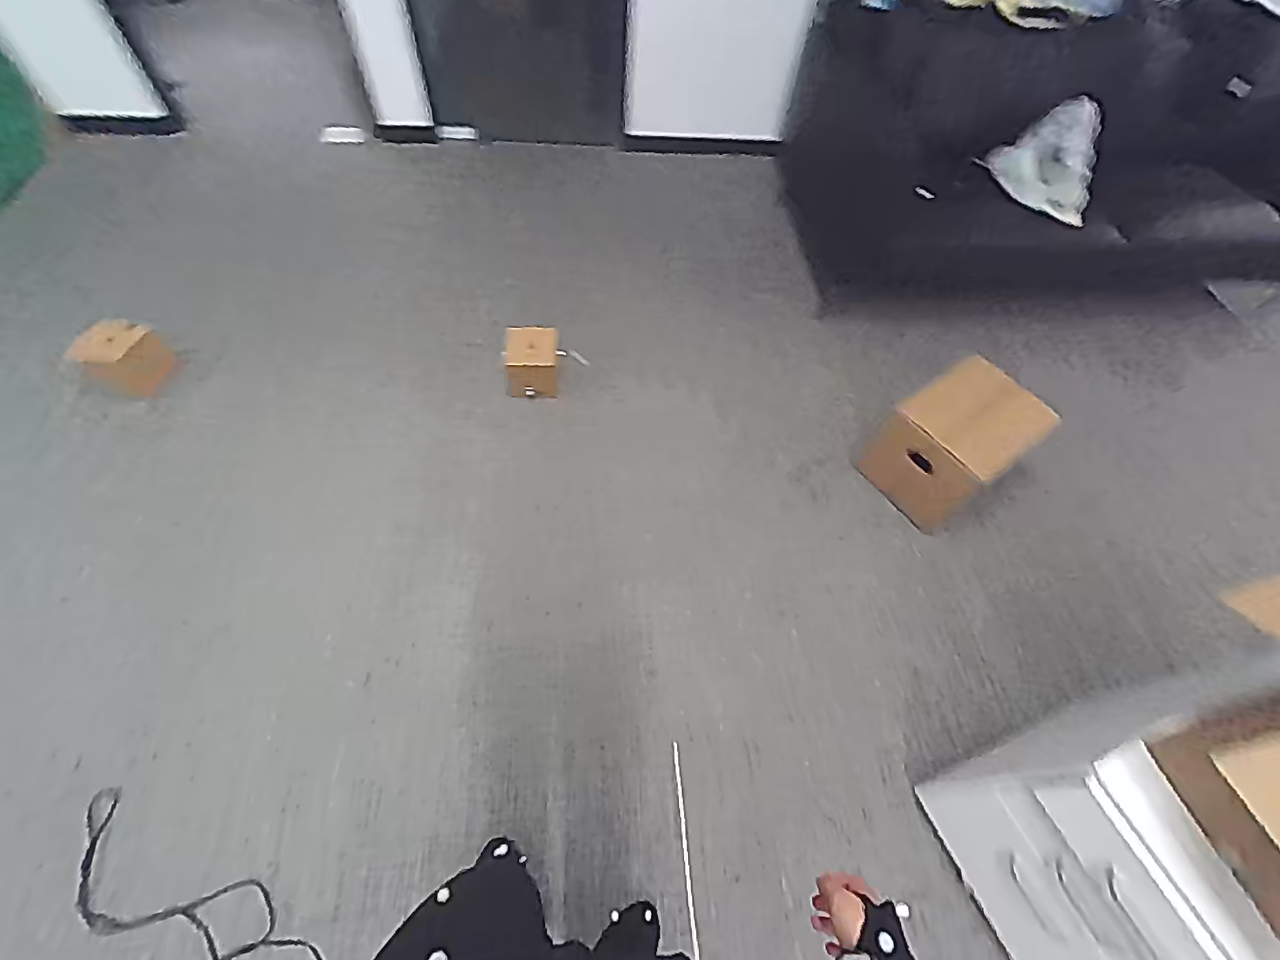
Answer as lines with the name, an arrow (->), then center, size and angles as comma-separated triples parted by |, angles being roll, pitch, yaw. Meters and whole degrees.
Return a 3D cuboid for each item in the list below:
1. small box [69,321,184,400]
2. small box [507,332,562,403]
small box -> -1.637, -0.380, 1.740 | 0.168, 0.176, 0.179 | 10, 57, 1
small box -> -0.360, -0.387, 1.869 | 0.168, 0.176, 0.179 | -1, 59, -4
